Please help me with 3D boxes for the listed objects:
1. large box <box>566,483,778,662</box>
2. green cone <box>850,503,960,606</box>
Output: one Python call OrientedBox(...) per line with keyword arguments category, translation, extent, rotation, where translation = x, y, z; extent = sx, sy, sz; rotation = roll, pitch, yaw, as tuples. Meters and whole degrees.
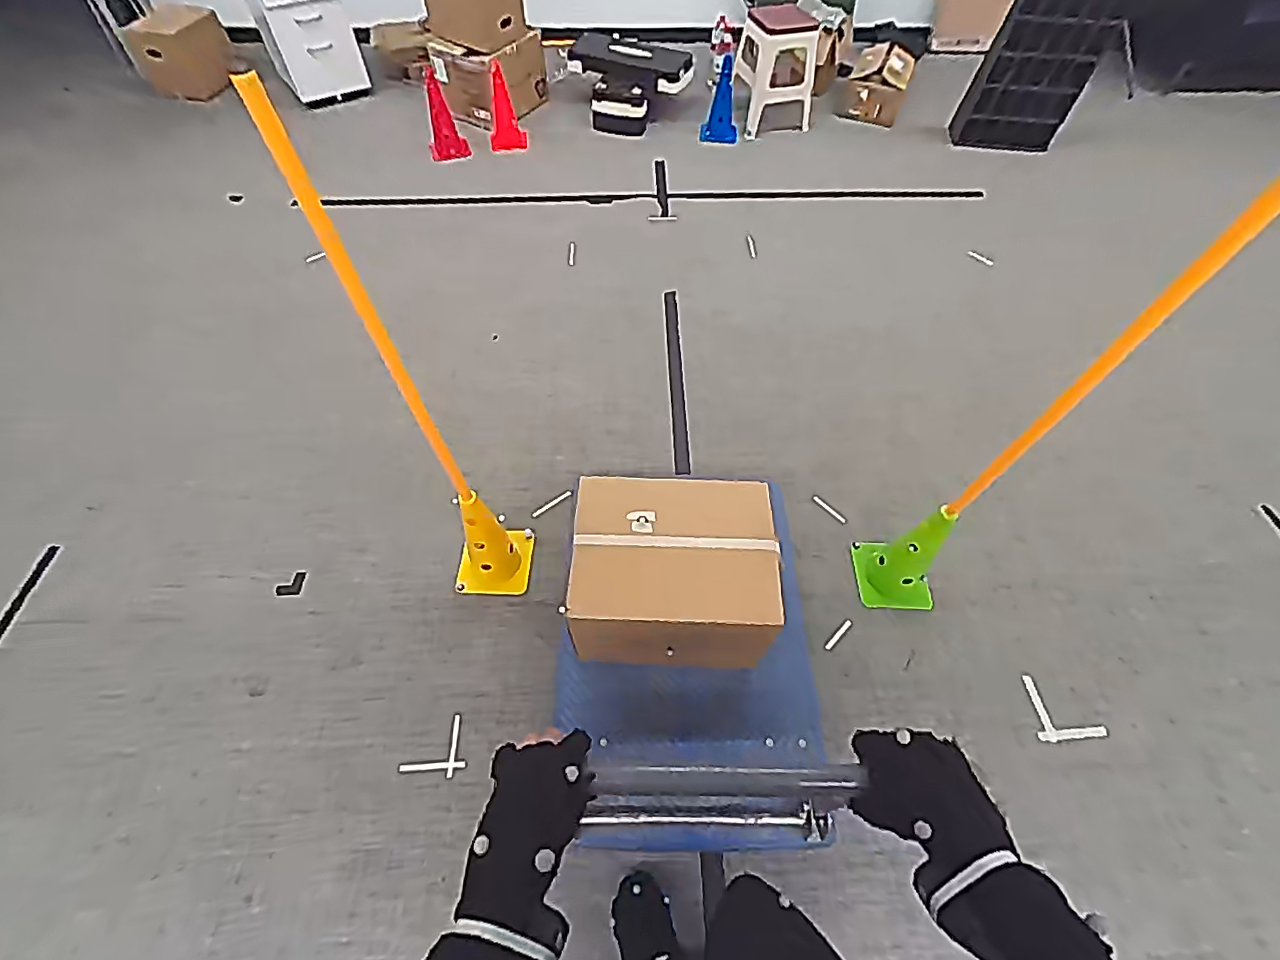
OrientedBox(category="large box", translation=(0.065, 0.216, 1.211), extent=(0.408, 0.320, 0.320), rotation=(1, 57, 1))
OrientedBox(category="green cone", translation=(0.722, 0.172, 1.417), extent=(0.202, 0.368, 0.200), rotation=(3, 57, 0))
